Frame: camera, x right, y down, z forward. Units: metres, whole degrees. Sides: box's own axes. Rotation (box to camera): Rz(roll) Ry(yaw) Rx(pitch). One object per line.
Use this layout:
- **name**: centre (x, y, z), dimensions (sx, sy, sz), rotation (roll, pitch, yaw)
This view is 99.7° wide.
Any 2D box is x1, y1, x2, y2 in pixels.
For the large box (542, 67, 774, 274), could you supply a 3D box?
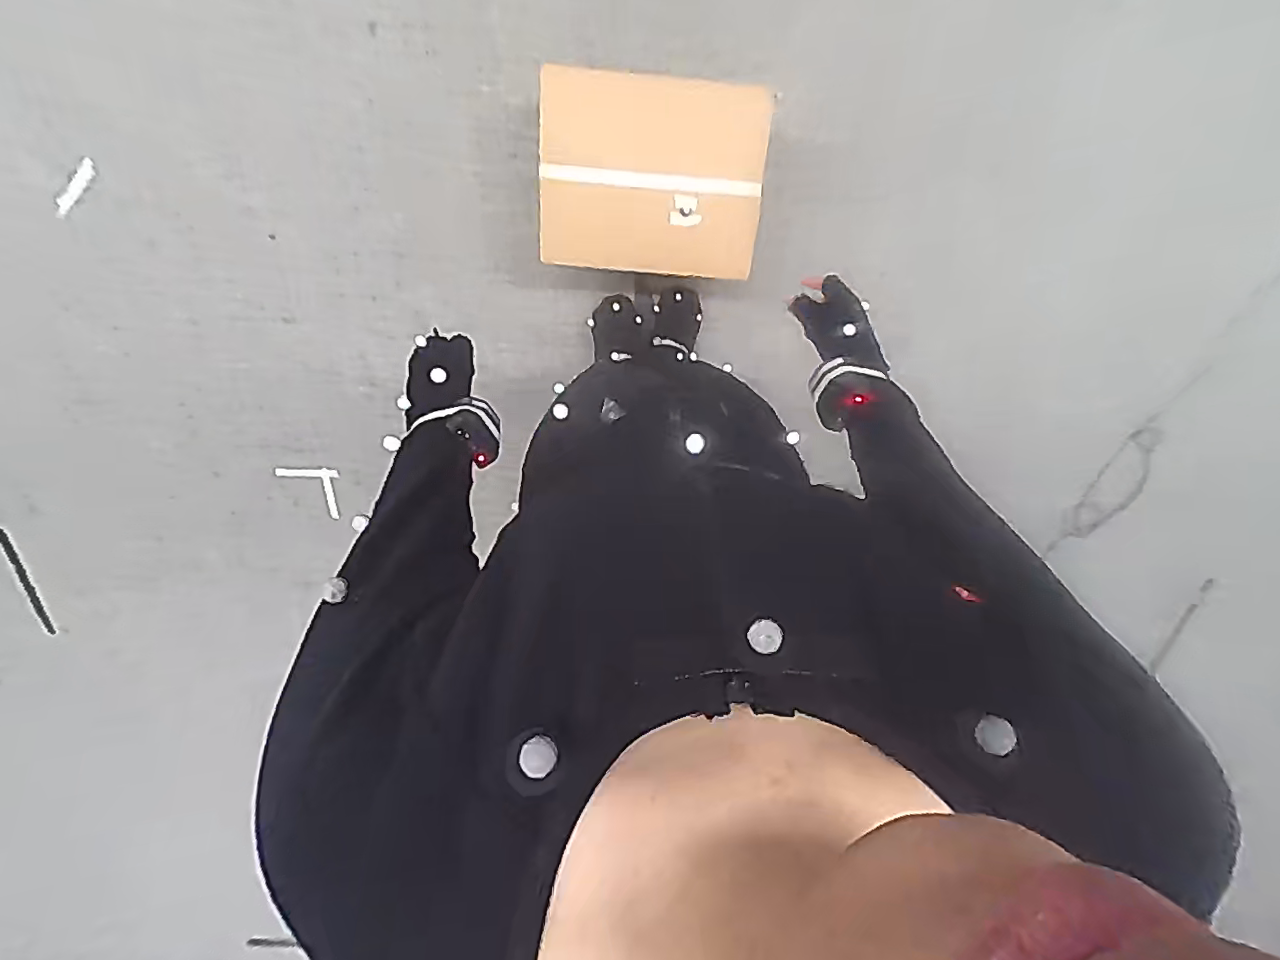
- **large box**: centre (0.019, -0.609, 1.116), dimensions (0.408, 0.320, 0.320), rotation (3, 115, -3)
